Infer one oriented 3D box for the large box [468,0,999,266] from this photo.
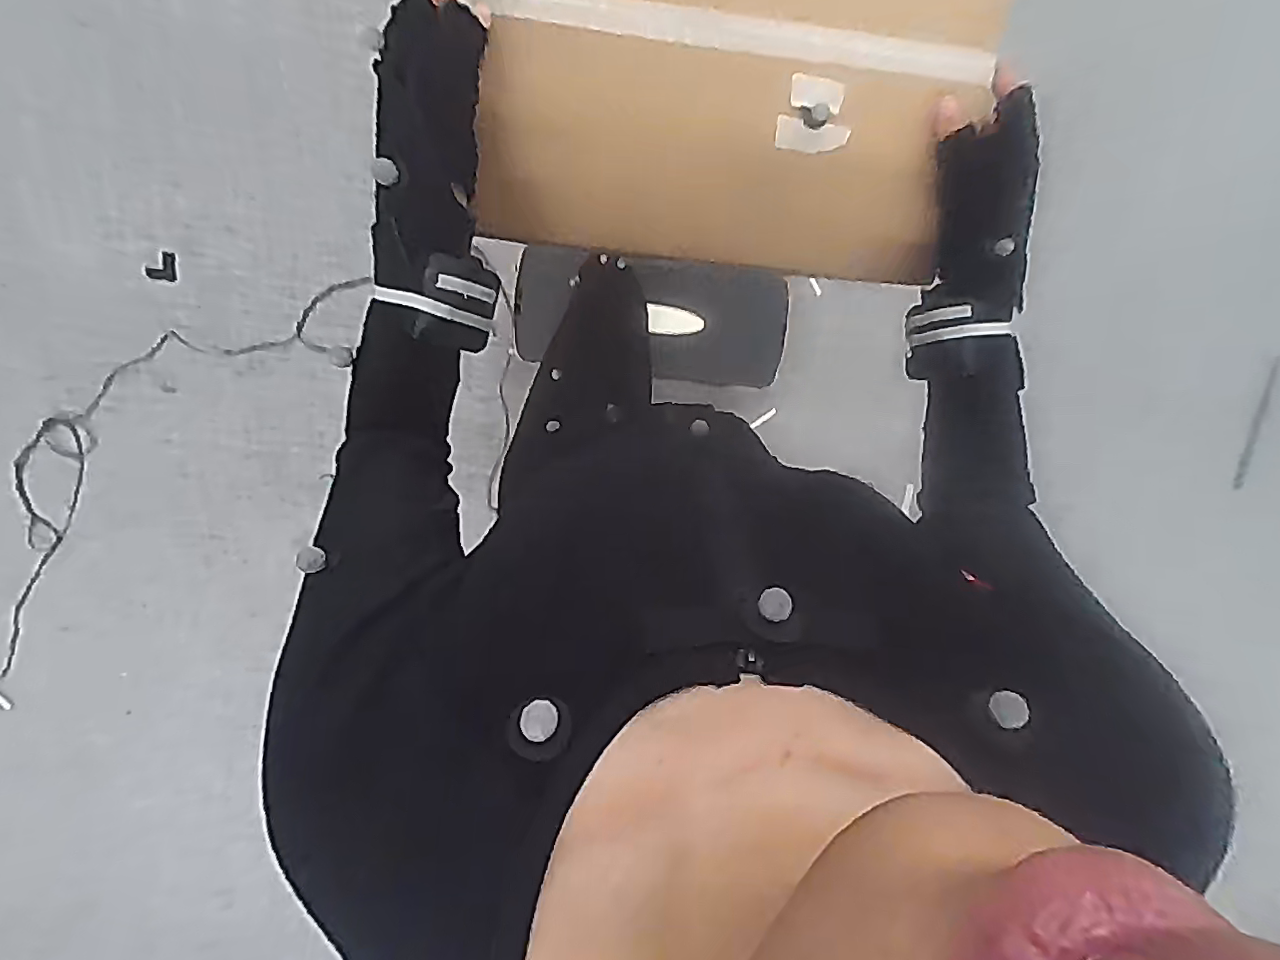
[{"bbox_3d":[0.059,-0.396,0.543,0.408,0.320,0.320,3,112,-6],"label":"large box"}]
